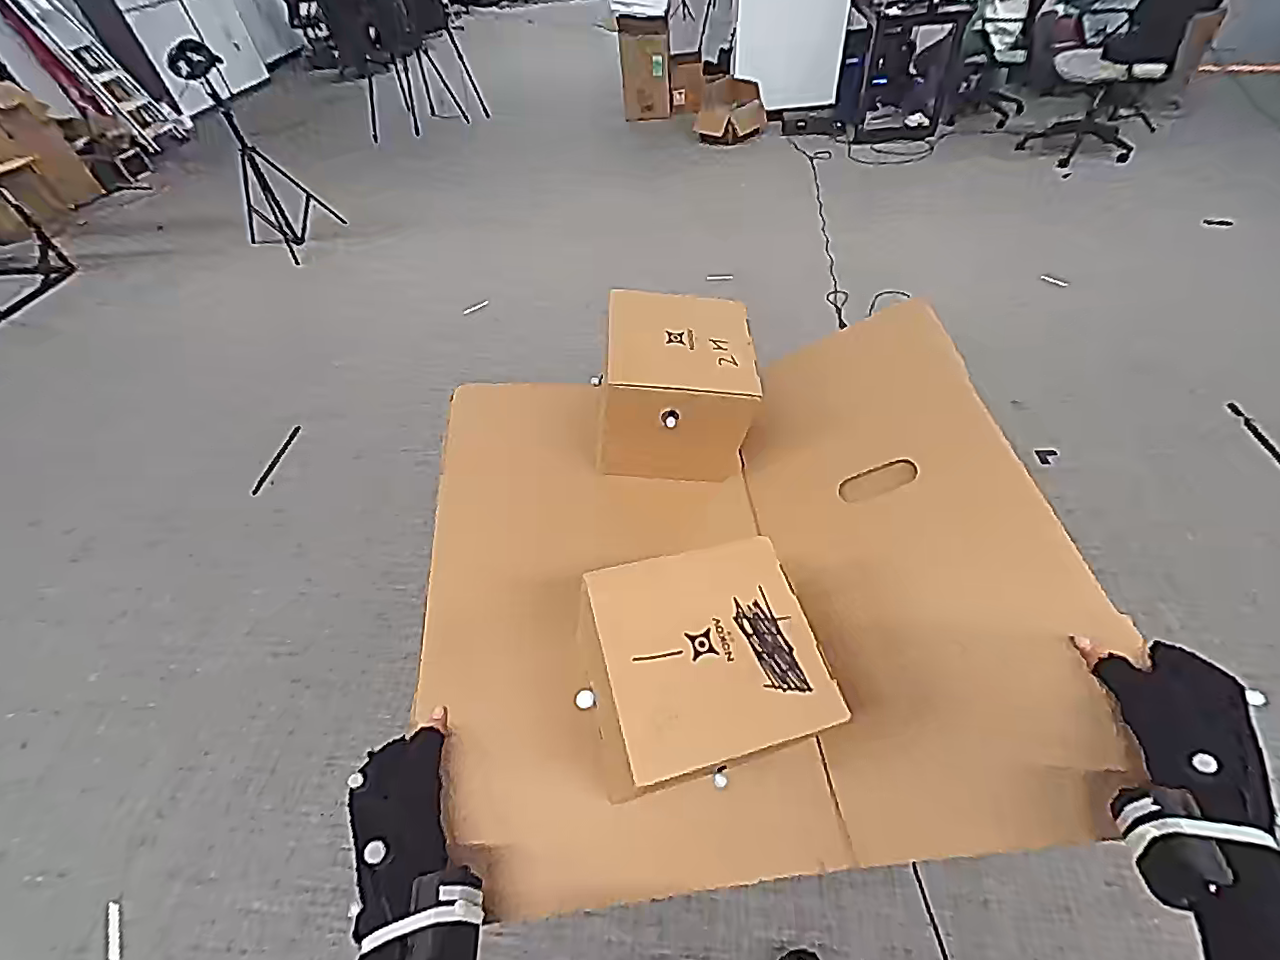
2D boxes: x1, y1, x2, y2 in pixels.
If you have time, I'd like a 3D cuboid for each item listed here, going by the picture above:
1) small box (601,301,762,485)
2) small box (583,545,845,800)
[{"bbox_3d":[0.043,-0.108,0.708,0.179,0.176,0.168,4,55,-6],"label":"small box"},{"bbox_3d":[0.049,0.183,0.507,0.179,0.176,0.168,-9,58,-14],"label":"small box"}]
